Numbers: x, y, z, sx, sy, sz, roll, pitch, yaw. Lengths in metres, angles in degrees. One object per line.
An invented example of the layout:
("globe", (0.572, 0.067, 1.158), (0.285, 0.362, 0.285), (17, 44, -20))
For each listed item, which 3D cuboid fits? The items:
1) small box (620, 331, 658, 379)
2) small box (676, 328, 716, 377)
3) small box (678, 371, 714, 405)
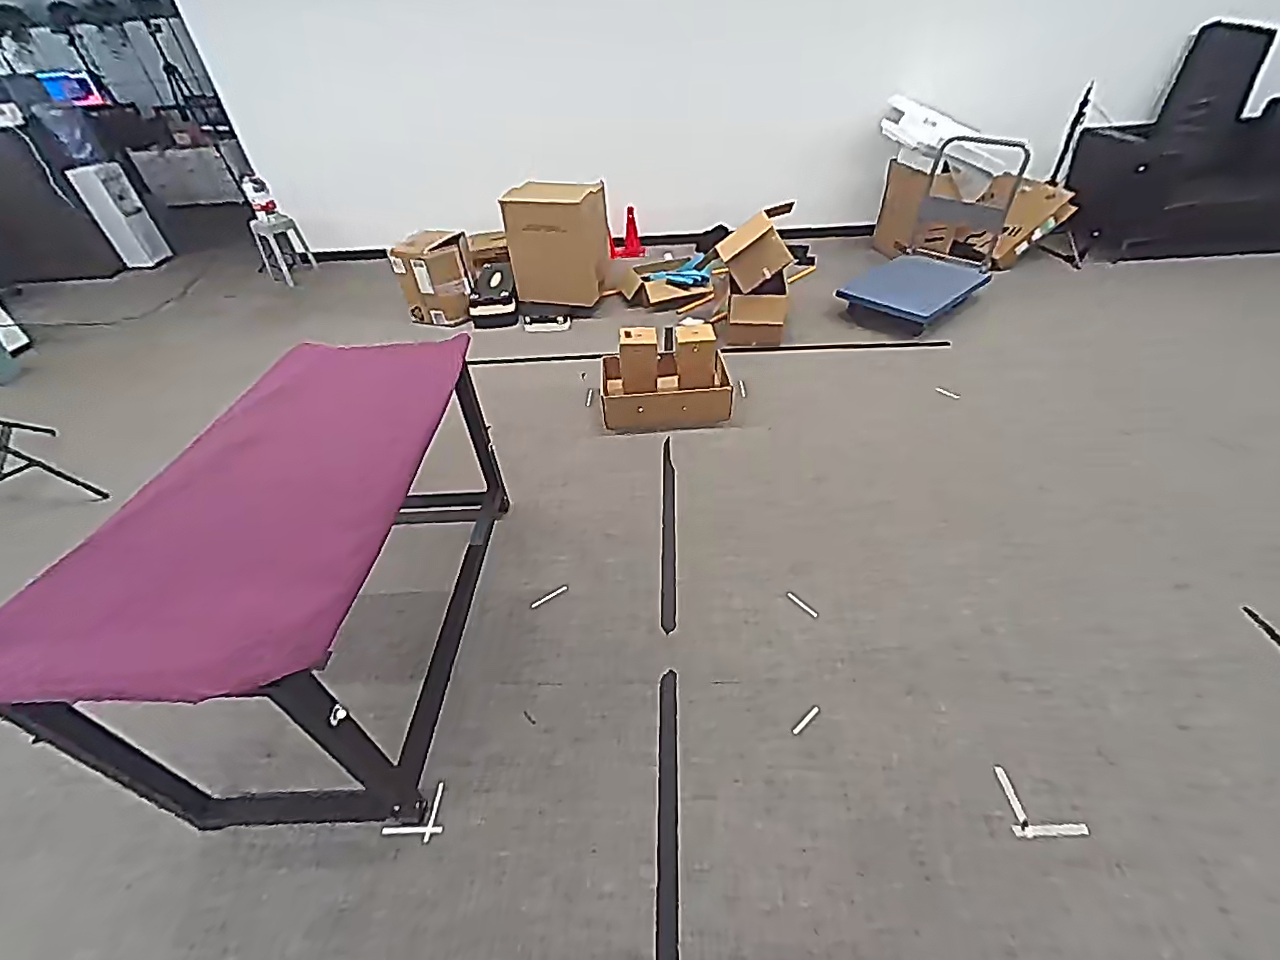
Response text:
("small box", (-0.005, -0.592, 2.573), (0.179, 0.176, 0.168), (-2, 41, 0))
("small box", (0.262, -0.603, 2.566), (0.179, 0.176, 0.168), (-5, 41, 1))
("small box", (0.276, -0.481, 2.673), (0.168, 0.176, 0.179), (-4, 40, 0))
